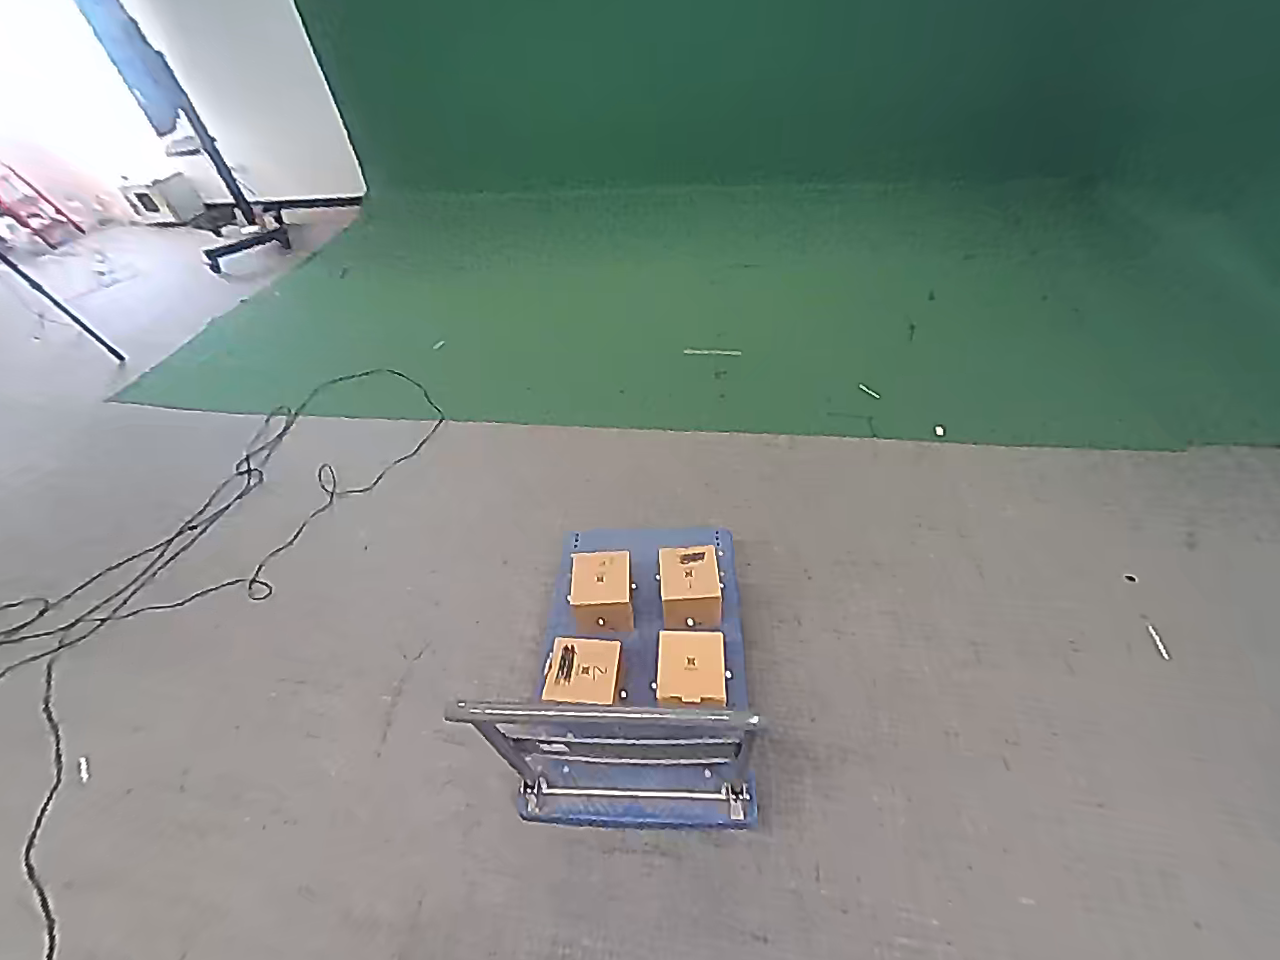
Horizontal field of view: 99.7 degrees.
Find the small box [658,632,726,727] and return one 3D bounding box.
[{"bbox_3d":[0.133,0.514,1.396,0.168,0.176,0.179,0,47,6],"label":"small box"}]

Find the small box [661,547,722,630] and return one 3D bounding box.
[{"bbox_3d":[0.146,0.317,1.581,0.168,0.176,0.179,-4,47,3],"label":"small box"}]

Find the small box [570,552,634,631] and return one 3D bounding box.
[{"bbox_3d":[-0.106,0.335,1.592,0.168,0.176,0.179,-3,46,2],"label":"small box"}]
